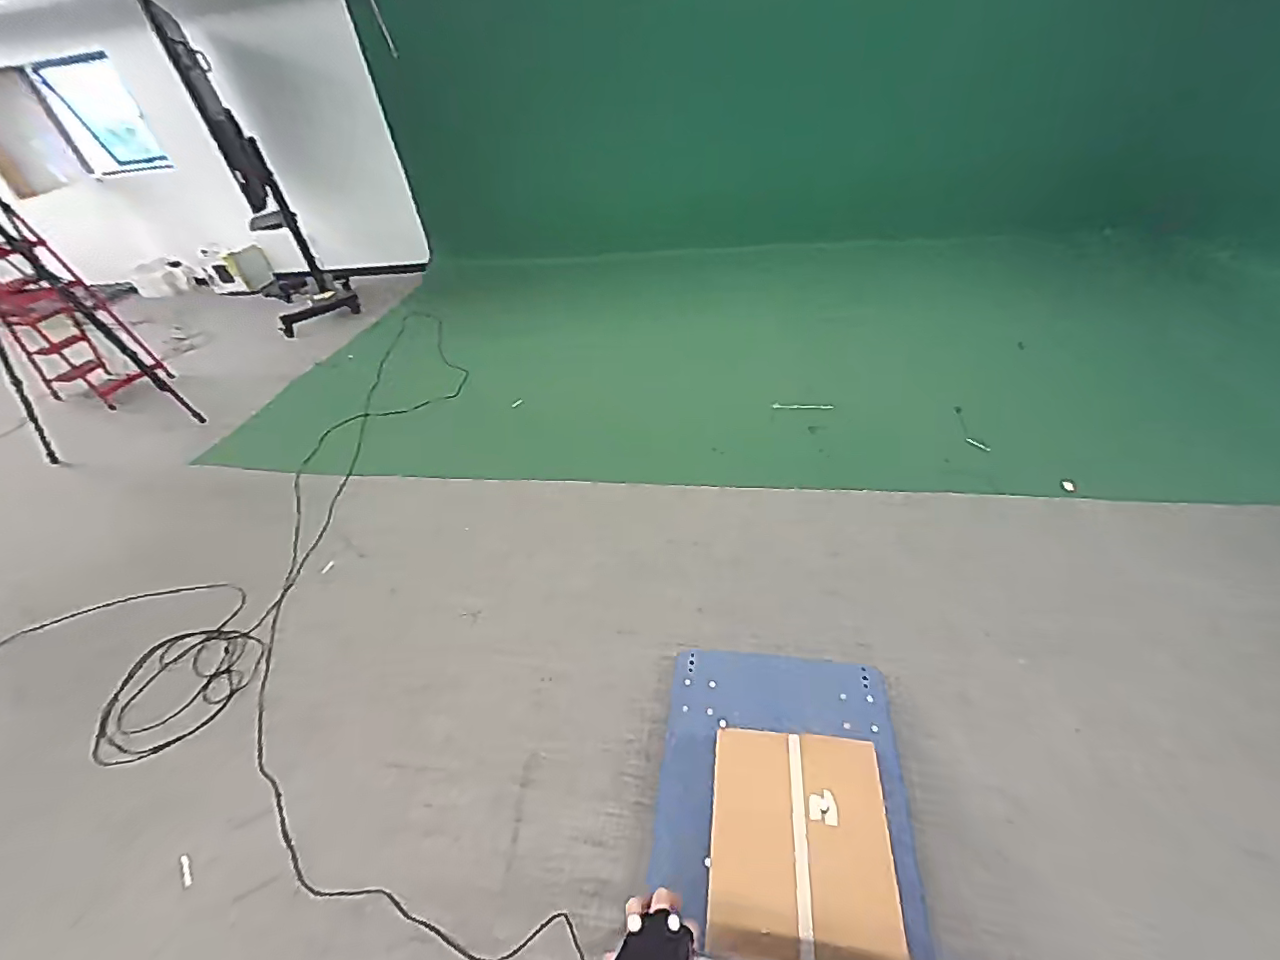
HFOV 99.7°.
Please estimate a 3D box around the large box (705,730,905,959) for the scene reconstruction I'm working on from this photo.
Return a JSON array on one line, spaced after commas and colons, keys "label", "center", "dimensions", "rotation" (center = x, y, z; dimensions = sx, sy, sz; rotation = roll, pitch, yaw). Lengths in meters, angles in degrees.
[{"label": "large box", "center": [0.301, 0.775, 1.068], "dimensions": [0.320, 0.320, 0.408], "rotation": [1, 39, 11]}]
